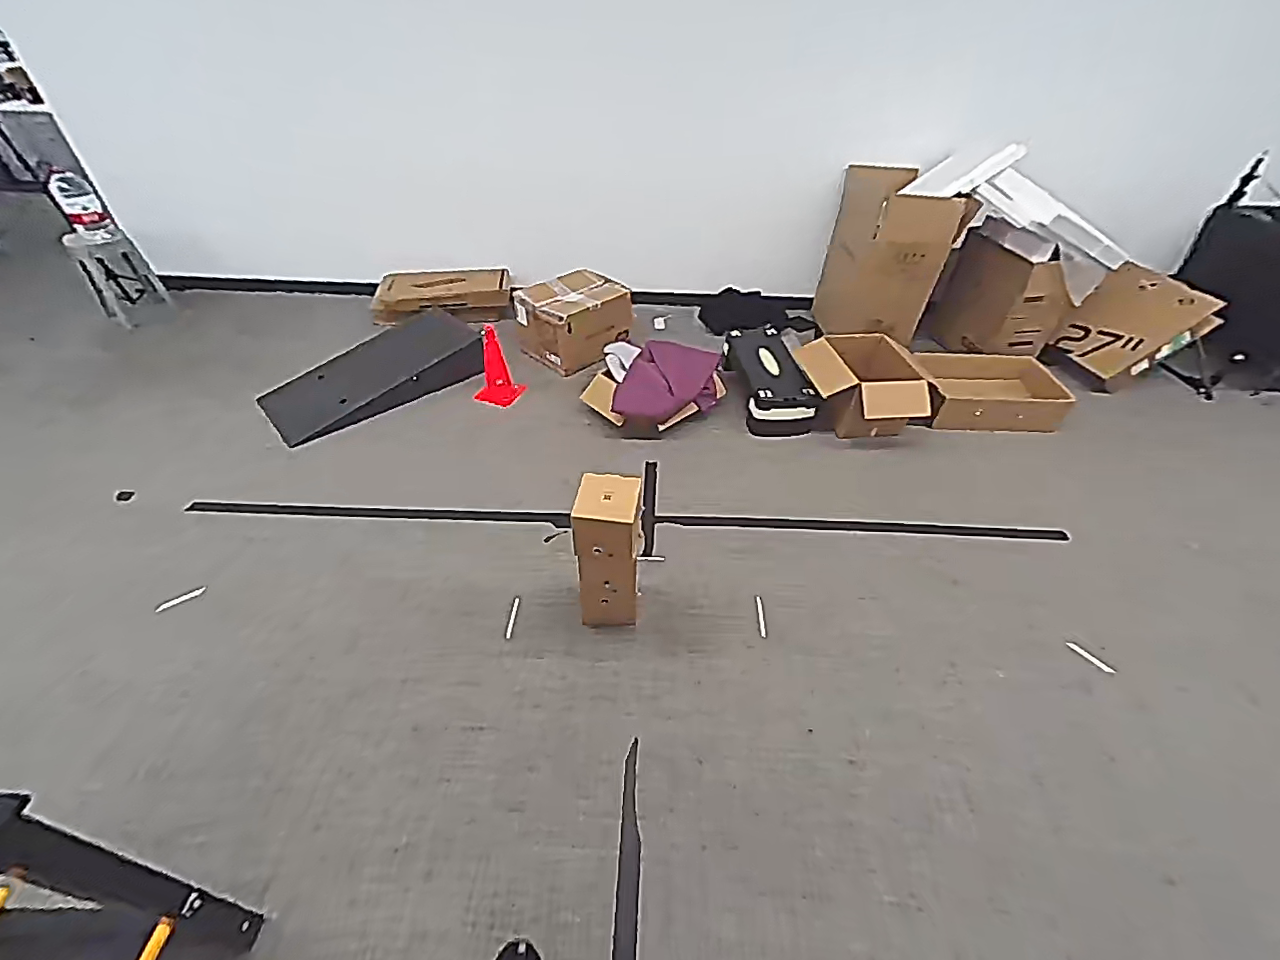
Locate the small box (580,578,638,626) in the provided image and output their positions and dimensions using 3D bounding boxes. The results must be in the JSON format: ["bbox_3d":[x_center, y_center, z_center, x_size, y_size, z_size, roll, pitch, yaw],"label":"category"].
[{"bbox_3d":[-0.094,0.350,1.719,0.179,0.176,0.168,0,42,-3],"label":"small box"}]

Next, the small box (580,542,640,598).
[{"bbox_3d":[-0.085,0.227,1.609,0.168,0.176,0.179,2,42,1],"label":"small box"}]

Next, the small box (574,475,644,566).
[{"bbox_3d":[-0.082,0.111,1.495,0.168,0.176,0.179,5,43,5],"label":"small box"}]
